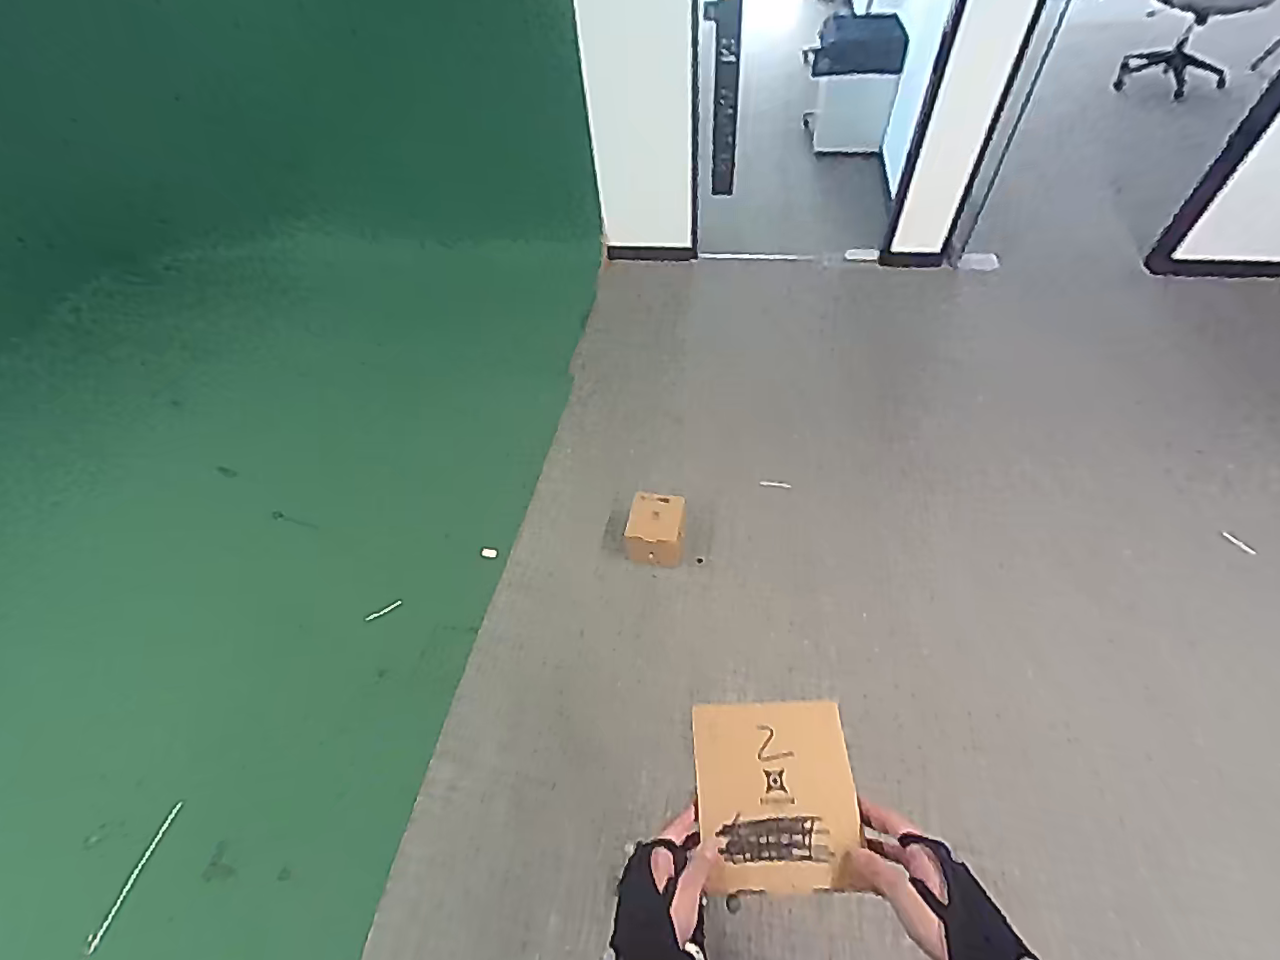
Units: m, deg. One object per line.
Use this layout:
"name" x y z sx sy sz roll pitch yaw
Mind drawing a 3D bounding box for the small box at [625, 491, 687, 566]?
"small box" 0.059 0.163 1.769 0.168 0.176 0.179 7 54 11
